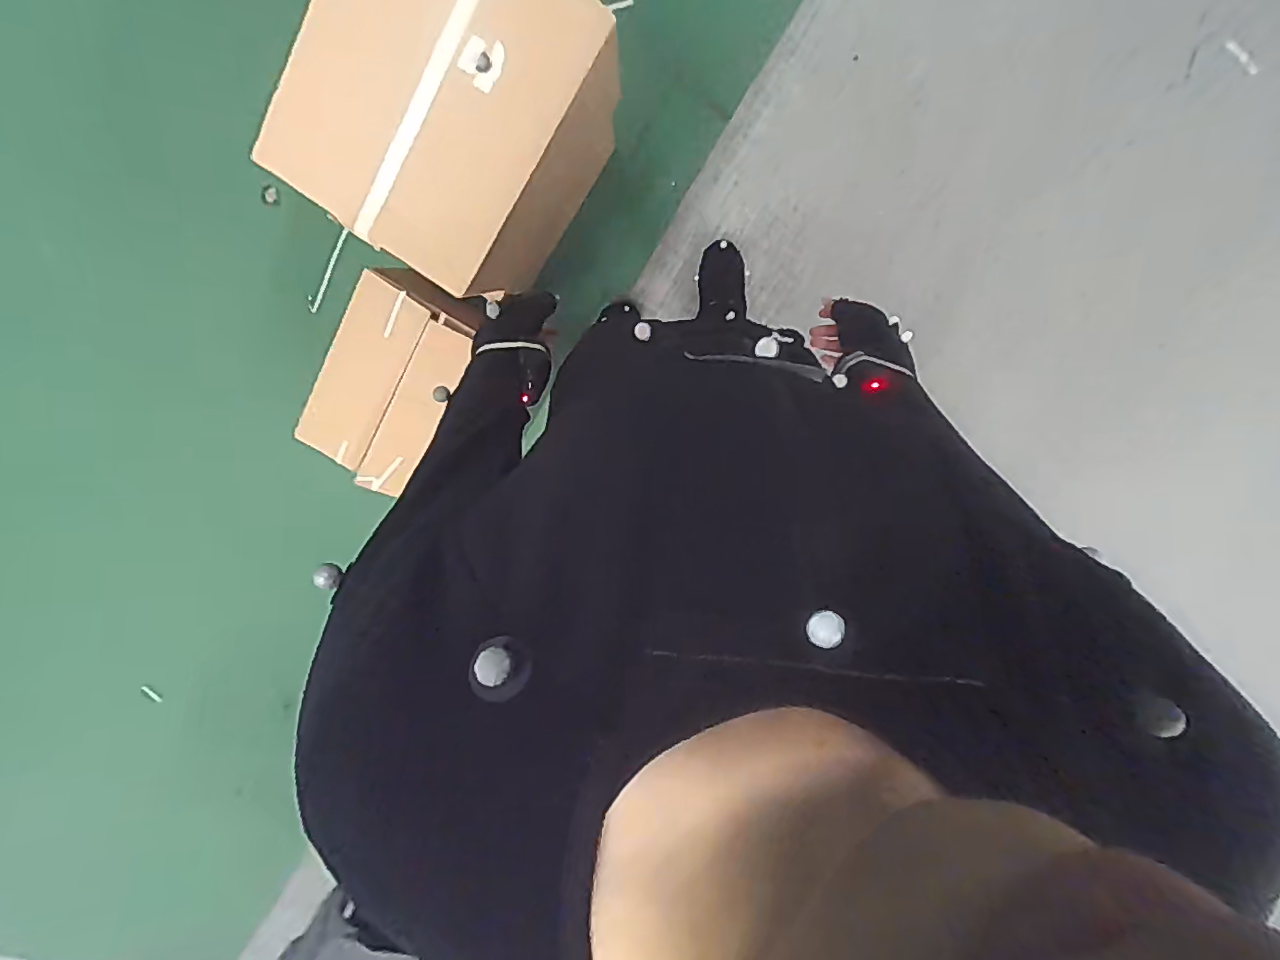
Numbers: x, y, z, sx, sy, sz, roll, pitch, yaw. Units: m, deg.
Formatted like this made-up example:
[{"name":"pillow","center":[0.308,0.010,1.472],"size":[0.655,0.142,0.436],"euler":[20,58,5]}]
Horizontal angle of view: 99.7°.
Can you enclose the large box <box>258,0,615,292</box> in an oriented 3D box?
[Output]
[{"name":"large box","center":[-0.272,-0.546,0.825],"size":[0.320,0.320,0.408],"euler":[33,106,-13]}]
